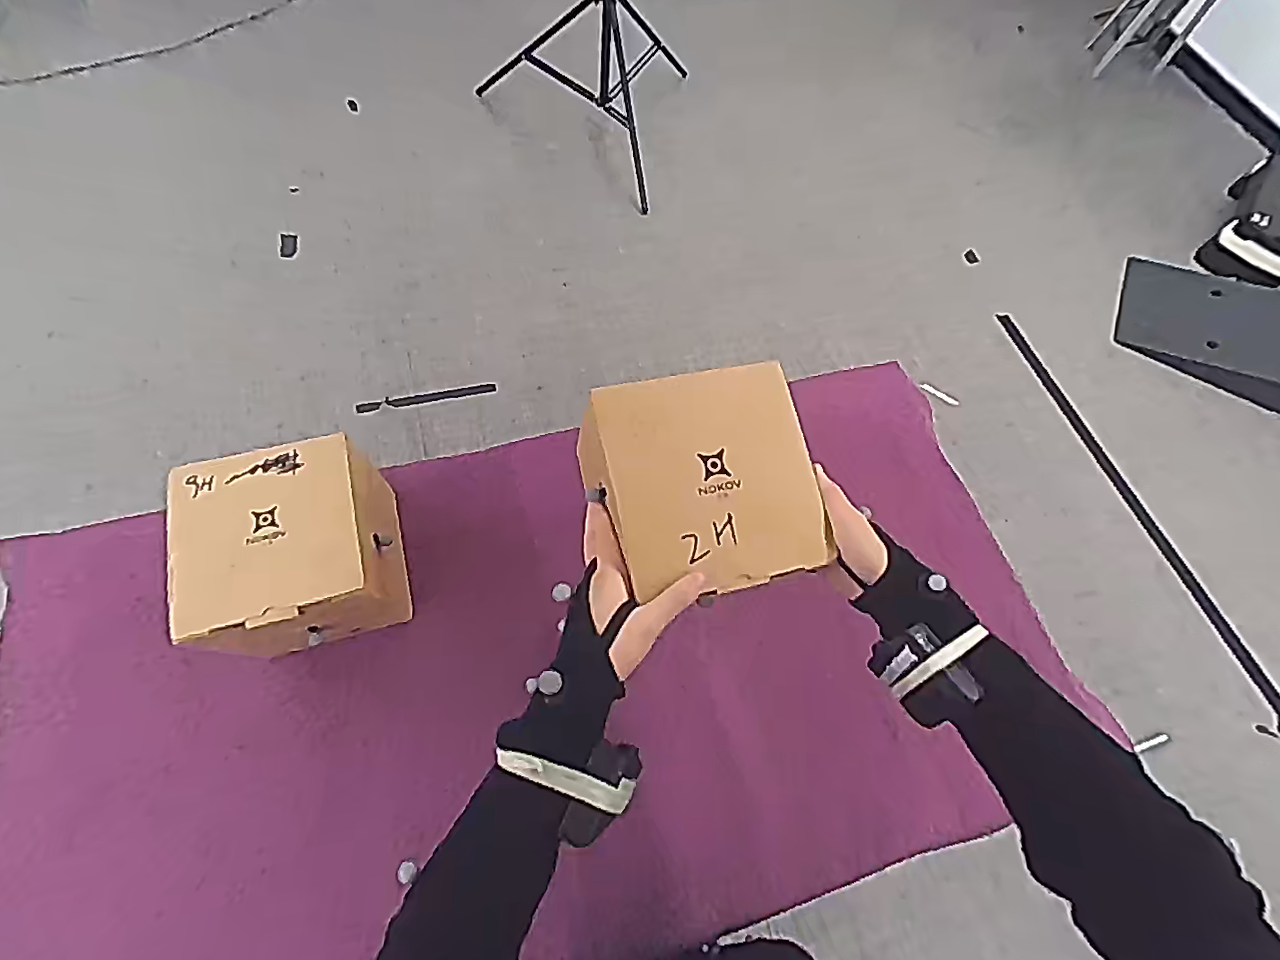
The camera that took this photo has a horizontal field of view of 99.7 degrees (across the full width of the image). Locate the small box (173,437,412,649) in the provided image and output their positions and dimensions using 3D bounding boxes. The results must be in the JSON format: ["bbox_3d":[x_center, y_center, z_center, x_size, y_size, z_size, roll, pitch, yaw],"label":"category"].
[{"bbox_3d":[-0.366,0.079,0.596,0.168,0.176,0.179,-14,70,-12],"label":"small box"}]

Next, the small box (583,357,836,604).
[{"bbox_3d":[0.045,0.010,0.502,0.168,0.176,0.179,-11,78,-12],"label":"small box"}]
